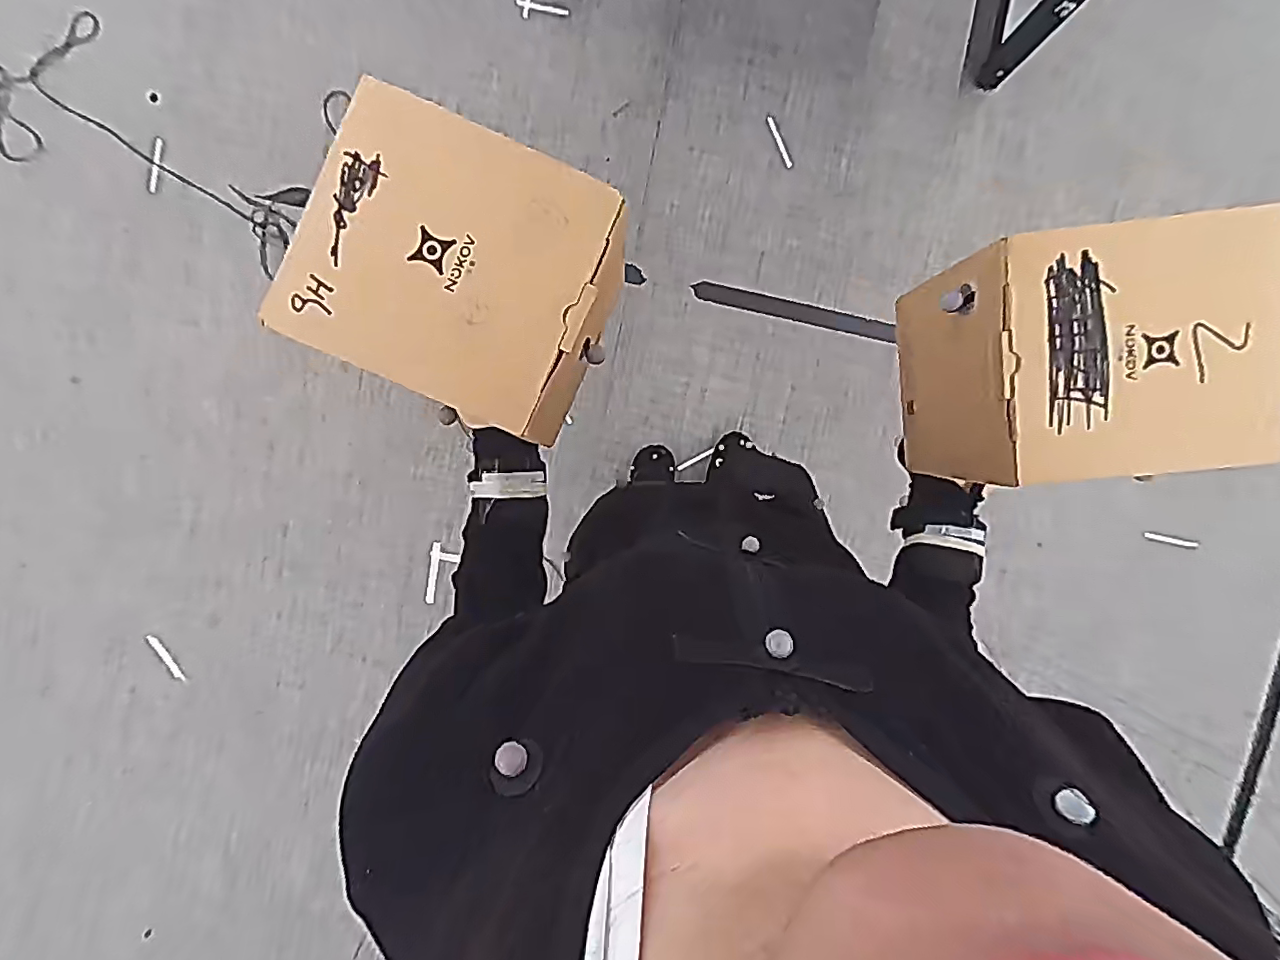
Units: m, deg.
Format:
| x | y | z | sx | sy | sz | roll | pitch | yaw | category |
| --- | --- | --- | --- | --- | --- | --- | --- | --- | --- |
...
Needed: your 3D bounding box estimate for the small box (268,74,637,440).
| x | y | z | sx | sy | sz | roll | pitch | yaw | category |
| --- | --- | --- | --- | --- | --- | --- | --- | --- | --- |
| -0.117 | -0.138 | 0.408 | 0.179 | 0.176 | 0.168 | 24 | 90 | -5 | small box |
